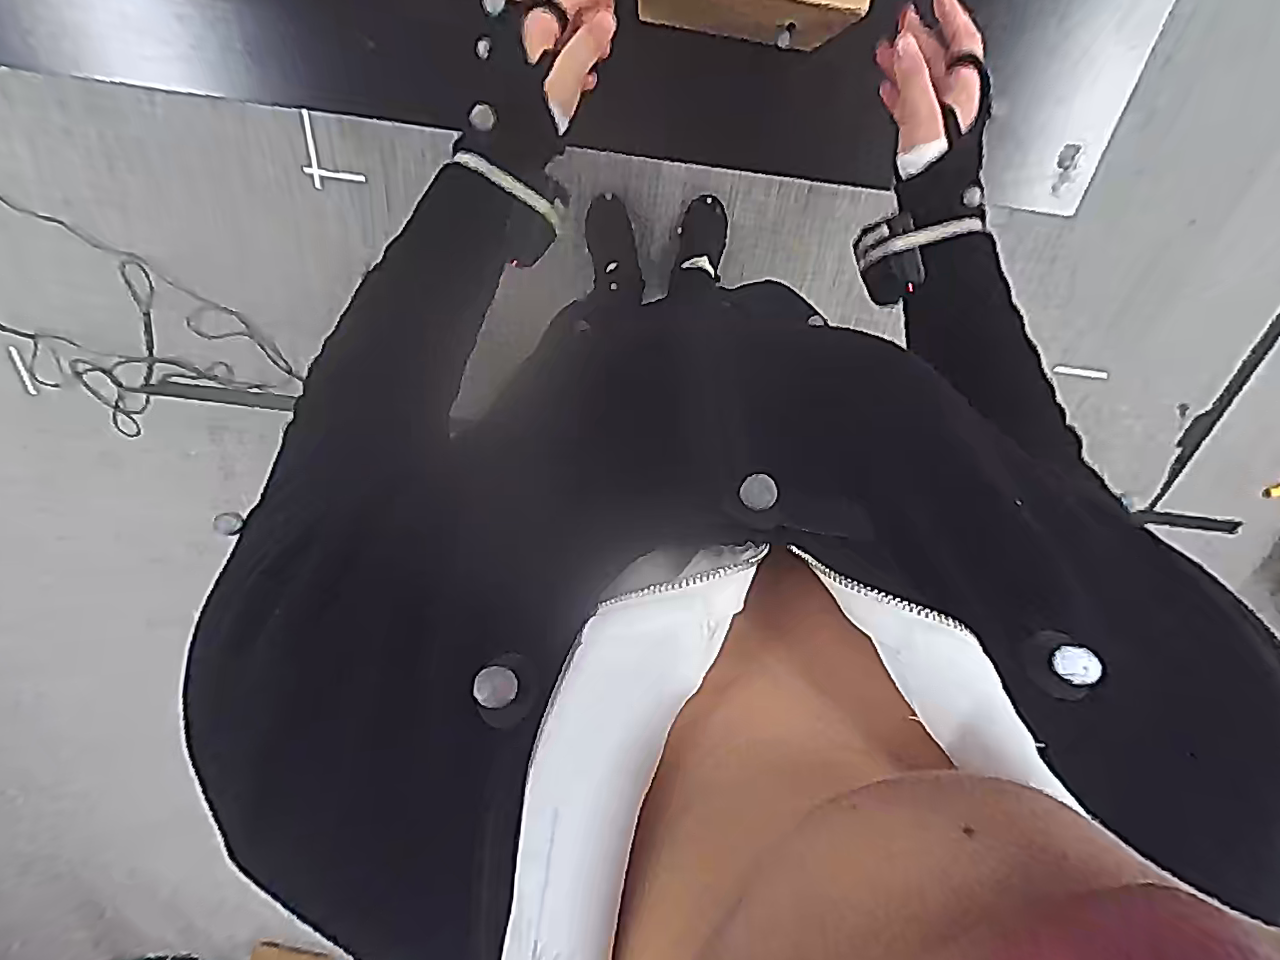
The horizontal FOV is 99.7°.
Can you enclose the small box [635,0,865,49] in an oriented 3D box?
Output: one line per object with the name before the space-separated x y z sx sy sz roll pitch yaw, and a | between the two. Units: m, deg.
small box | 0.092 -0.466 0.427 0.179 0.176 0.168 7 119 -3
